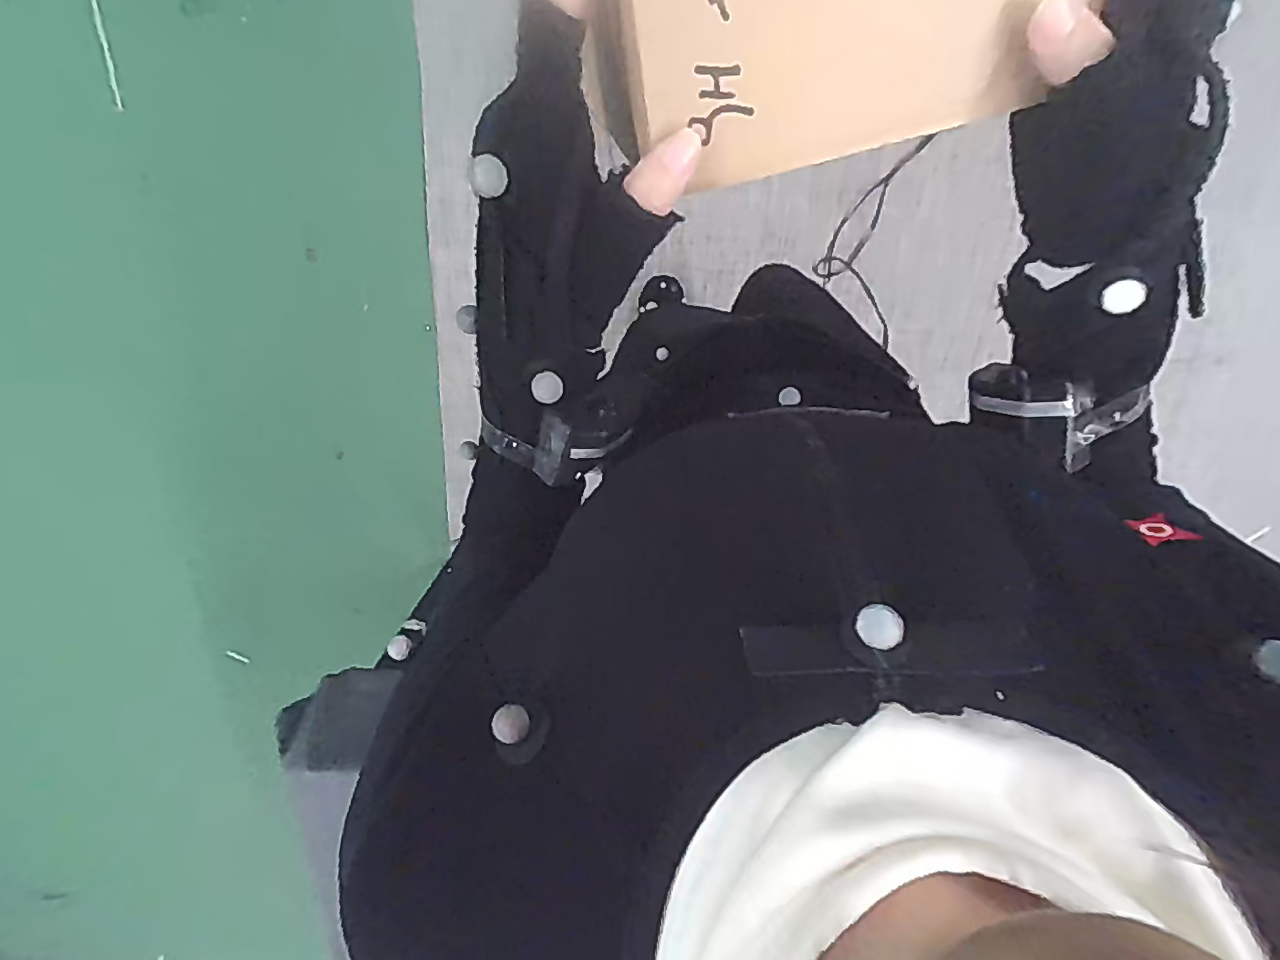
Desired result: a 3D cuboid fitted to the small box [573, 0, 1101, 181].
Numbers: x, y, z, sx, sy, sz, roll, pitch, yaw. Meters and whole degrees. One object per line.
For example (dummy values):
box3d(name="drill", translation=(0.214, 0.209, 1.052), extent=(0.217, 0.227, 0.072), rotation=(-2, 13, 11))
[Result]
box3d(name="small box", translation=(0.062, -0.247, 0.213), extent=(0.179, 0.176, 0.168), rotation=(-15, 135, -3))
